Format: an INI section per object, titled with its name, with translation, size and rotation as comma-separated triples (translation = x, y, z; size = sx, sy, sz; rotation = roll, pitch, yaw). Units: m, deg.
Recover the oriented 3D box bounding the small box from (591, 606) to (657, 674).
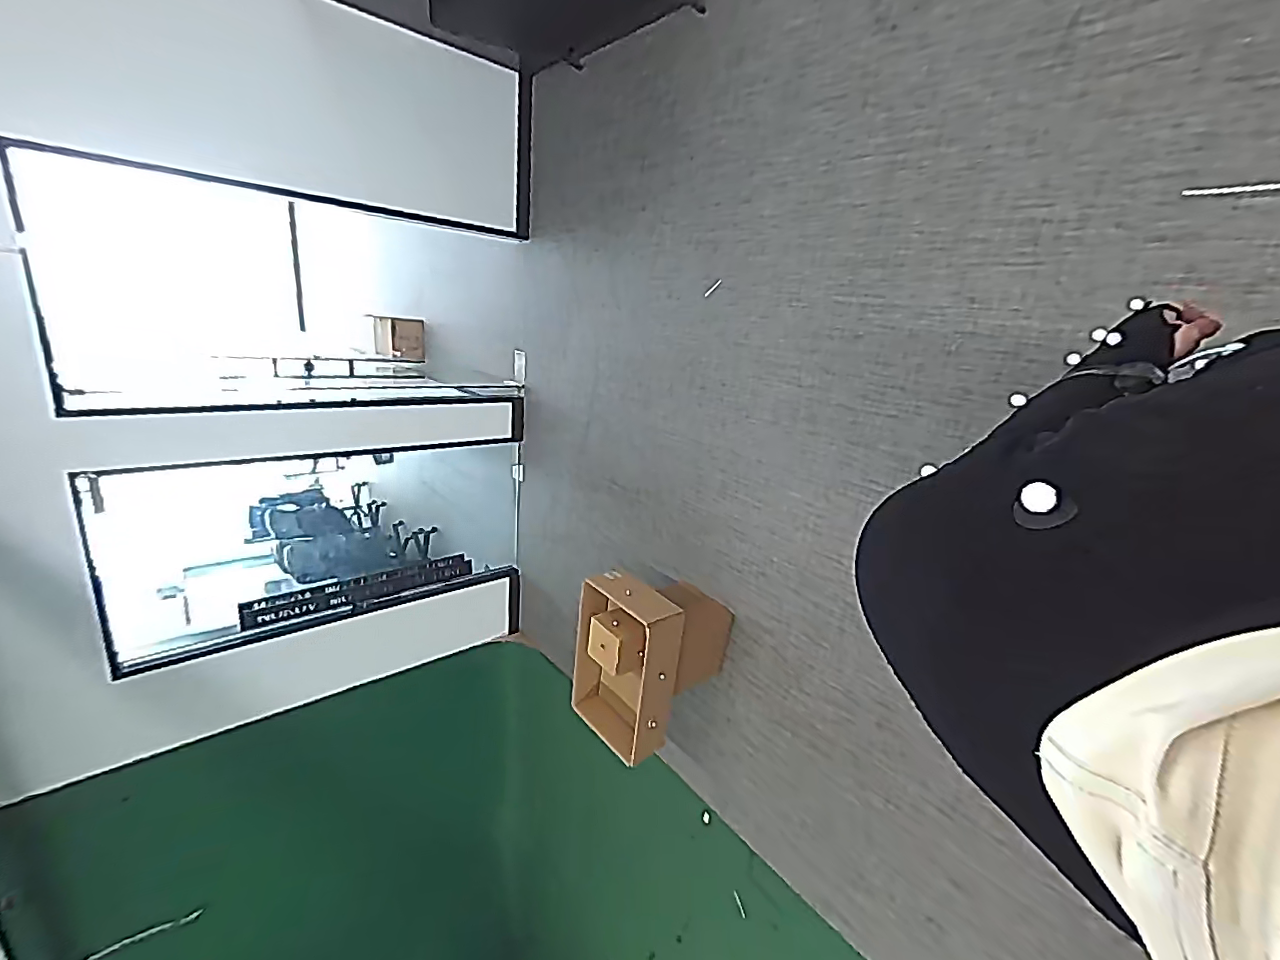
[small box]
translation = -0.061, 0.596, 2.049
size = 0.179, 0.176, 0.168
rotation = 25, 115, 44
